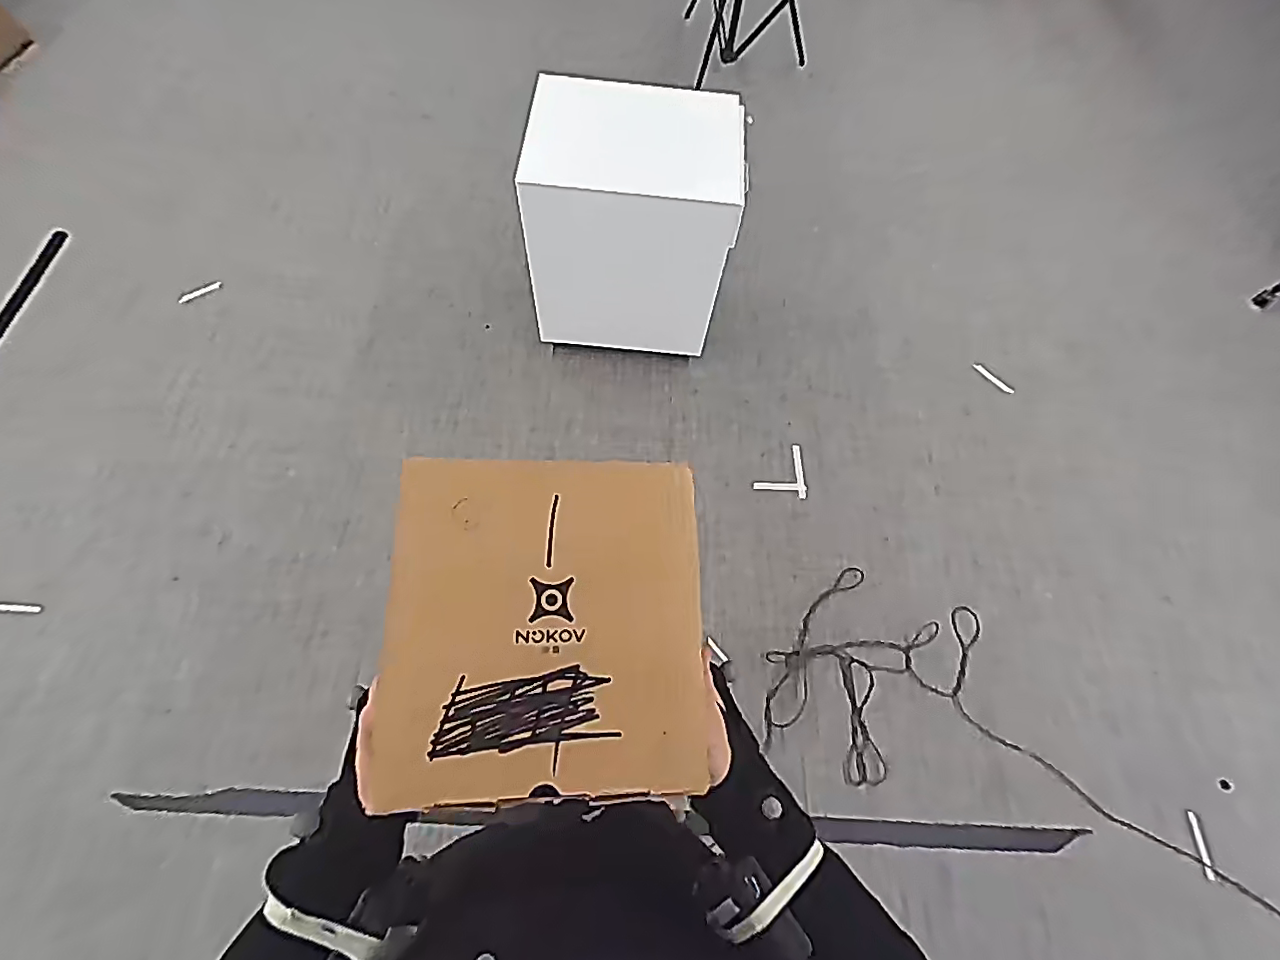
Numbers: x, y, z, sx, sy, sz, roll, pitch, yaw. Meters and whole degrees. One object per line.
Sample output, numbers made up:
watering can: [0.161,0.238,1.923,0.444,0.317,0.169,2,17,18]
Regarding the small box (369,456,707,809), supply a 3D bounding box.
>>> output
small box: [-0.058,0.094,0.360,0.168,0.176,0.179,1,72,-8]
